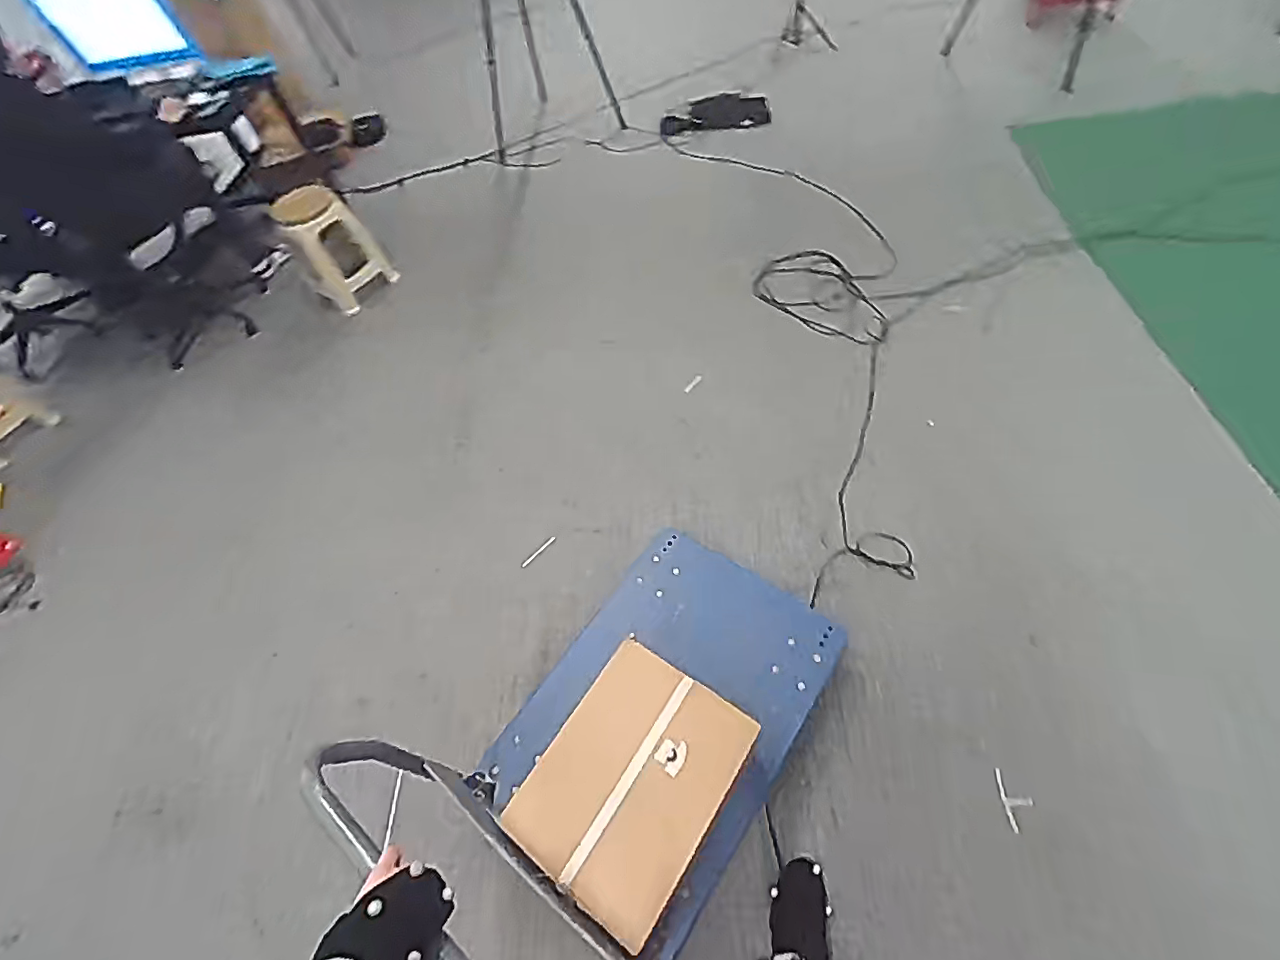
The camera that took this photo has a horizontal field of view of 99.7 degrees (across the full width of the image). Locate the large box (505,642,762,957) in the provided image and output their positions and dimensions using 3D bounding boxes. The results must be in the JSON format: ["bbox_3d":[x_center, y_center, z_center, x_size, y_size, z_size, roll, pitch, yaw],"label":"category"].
[{"bbox_3d":[0.010,0.621,1.091,0.320,0.320,0.408,28,63,24],"label":"large box"}]
